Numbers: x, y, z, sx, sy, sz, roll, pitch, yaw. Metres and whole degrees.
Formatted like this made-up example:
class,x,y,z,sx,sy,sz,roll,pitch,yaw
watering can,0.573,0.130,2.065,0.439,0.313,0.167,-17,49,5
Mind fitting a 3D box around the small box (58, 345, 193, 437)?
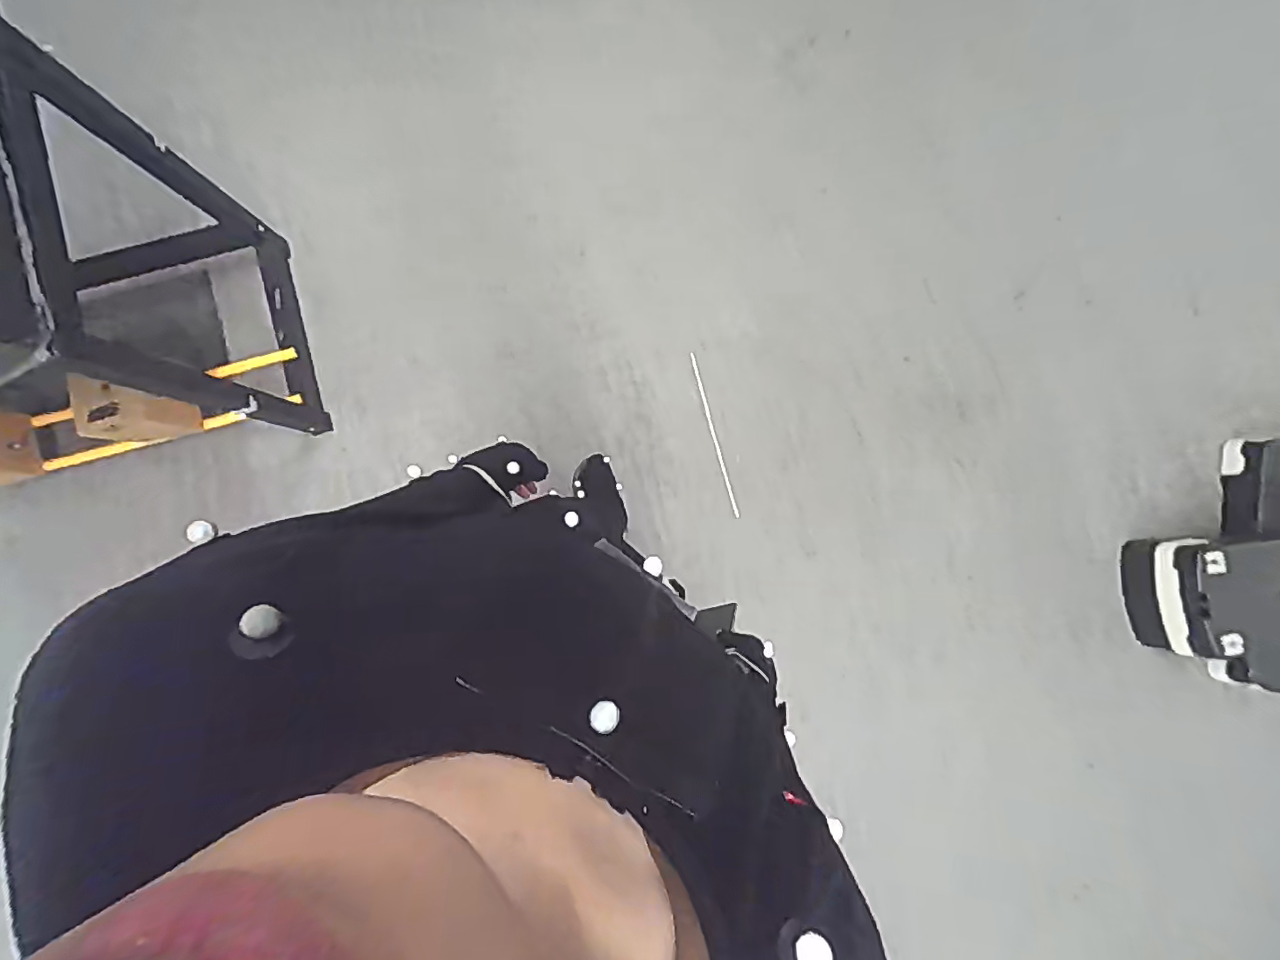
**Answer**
class,x,y,z,sx,sy,sz,roll,pitch,yaw
small box,-1.232,-0.206,1.309,0.168,0.176,0.179,-12,87,-2
